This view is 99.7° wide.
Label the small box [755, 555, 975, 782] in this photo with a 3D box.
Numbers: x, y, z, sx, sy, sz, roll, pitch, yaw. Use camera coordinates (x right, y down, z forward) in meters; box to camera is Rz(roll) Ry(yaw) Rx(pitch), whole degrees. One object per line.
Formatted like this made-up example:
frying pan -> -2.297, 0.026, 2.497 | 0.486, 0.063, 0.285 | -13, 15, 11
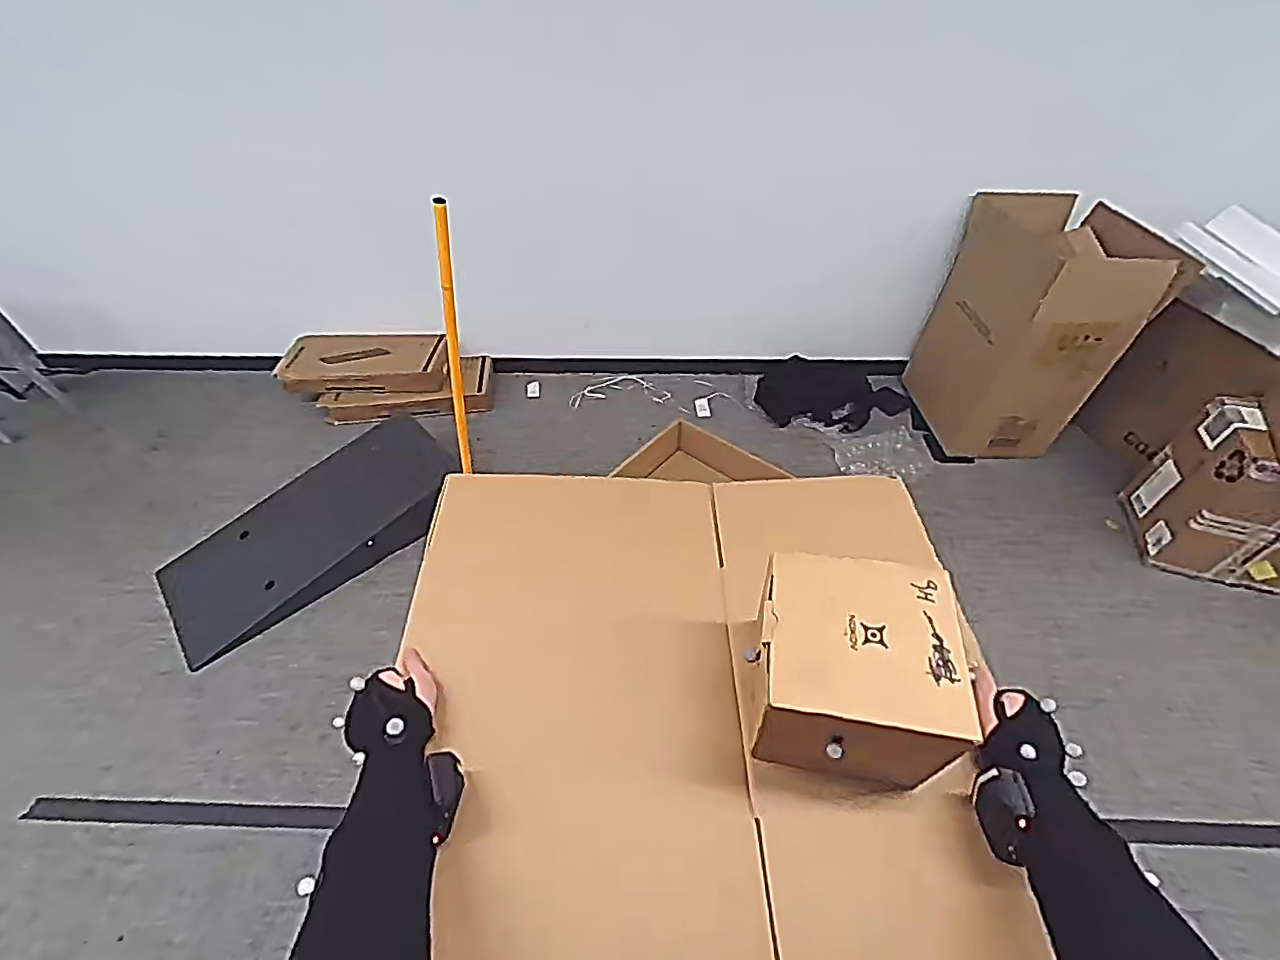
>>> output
small box -> 0.218, 0.201, 0.575 | 0.179, 0.176, 0.168 | 5, 50, 11
